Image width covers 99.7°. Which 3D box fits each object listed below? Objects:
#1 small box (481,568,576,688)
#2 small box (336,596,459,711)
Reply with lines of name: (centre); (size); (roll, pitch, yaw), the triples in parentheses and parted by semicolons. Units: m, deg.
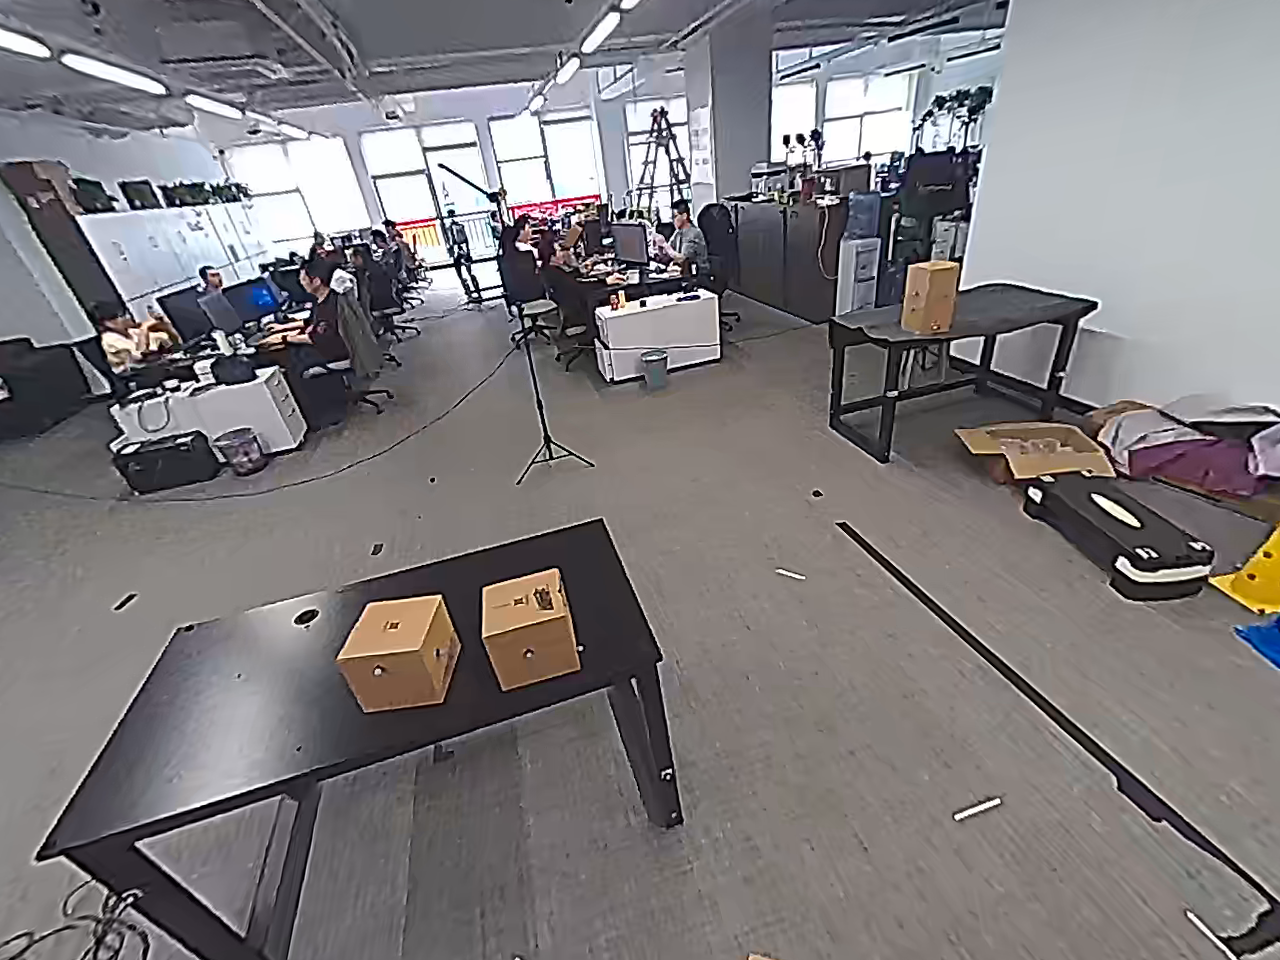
small box: (-0.245, 0.331, 1.210); (0.179, 0.176, 0.168); (-14, 30, -8)
small box: (-0.521, 0.383, 1.194); (0.179, 0.176, 0.168); (-8, 30, 1)
